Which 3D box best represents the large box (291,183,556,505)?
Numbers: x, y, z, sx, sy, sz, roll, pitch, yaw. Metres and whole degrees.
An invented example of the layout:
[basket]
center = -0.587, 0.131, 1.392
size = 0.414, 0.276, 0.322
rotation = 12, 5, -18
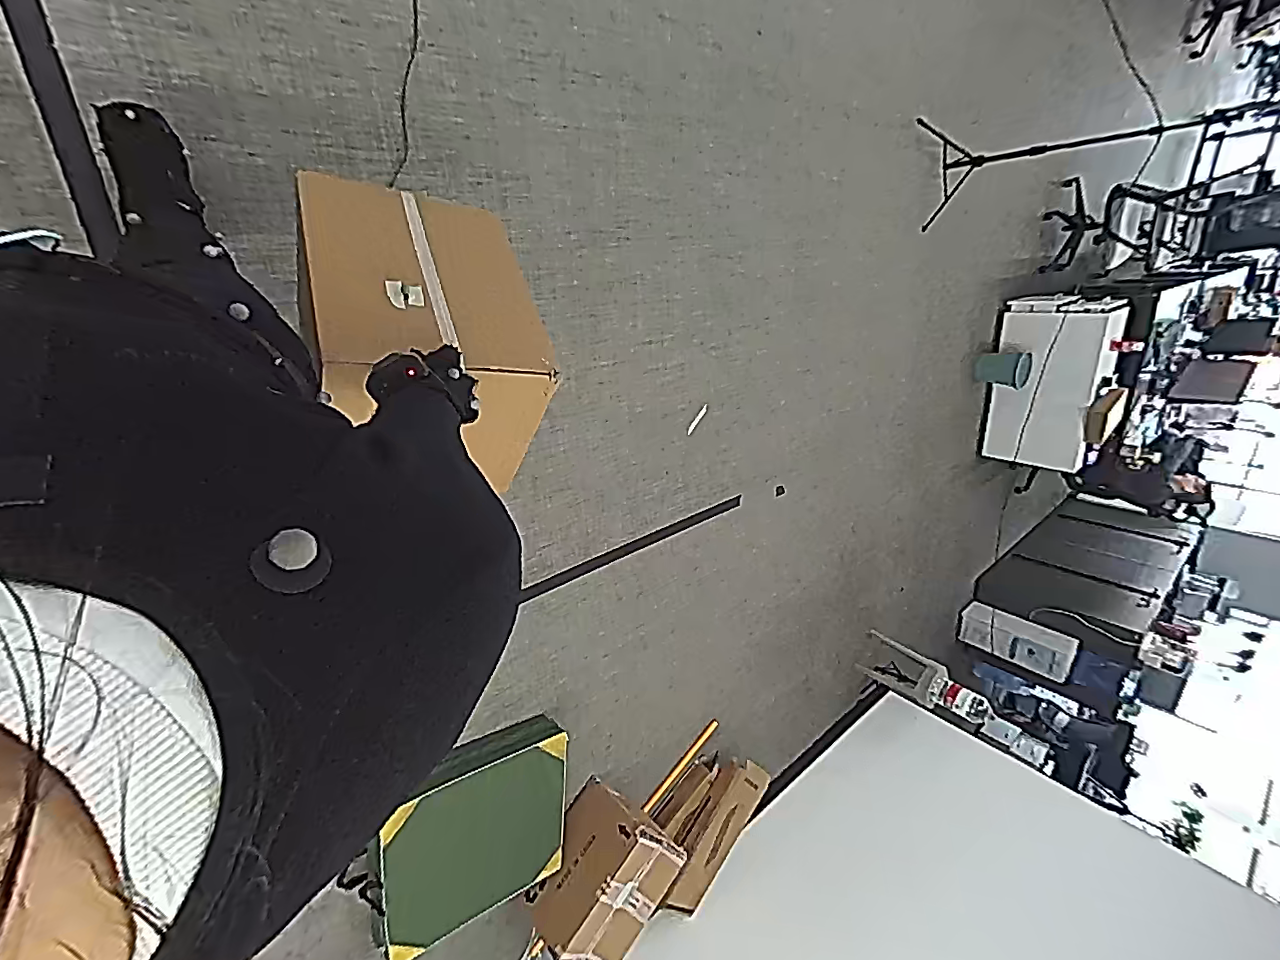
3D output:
[large box]
center = -0.392, -0.213, 0.920
size = 0.320, 0.408, 0.320
rotation = -5, 148, -34
